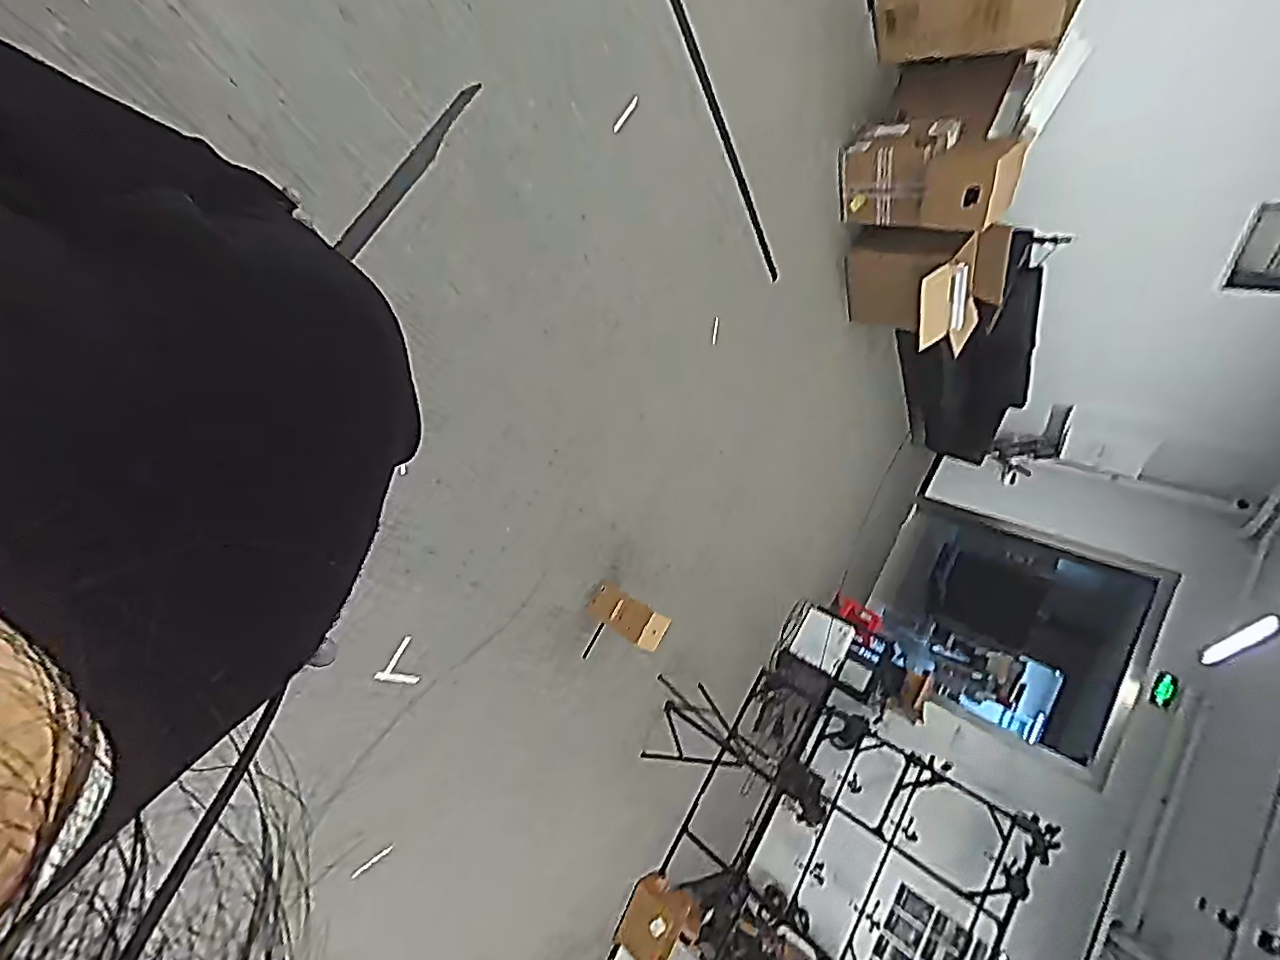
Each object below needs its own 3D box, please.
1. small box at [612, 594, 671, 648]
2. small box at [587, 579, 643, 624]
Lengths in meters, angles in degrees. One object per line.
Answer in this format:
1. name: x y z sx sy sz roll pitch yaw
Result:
1. small box: 0.002 0.636 2.443 0.168 0.176 0.179 -60 143 -7
2. small box: -0.116 0.584 2.542 0.168 0.176 0.179 -61 143 -9
